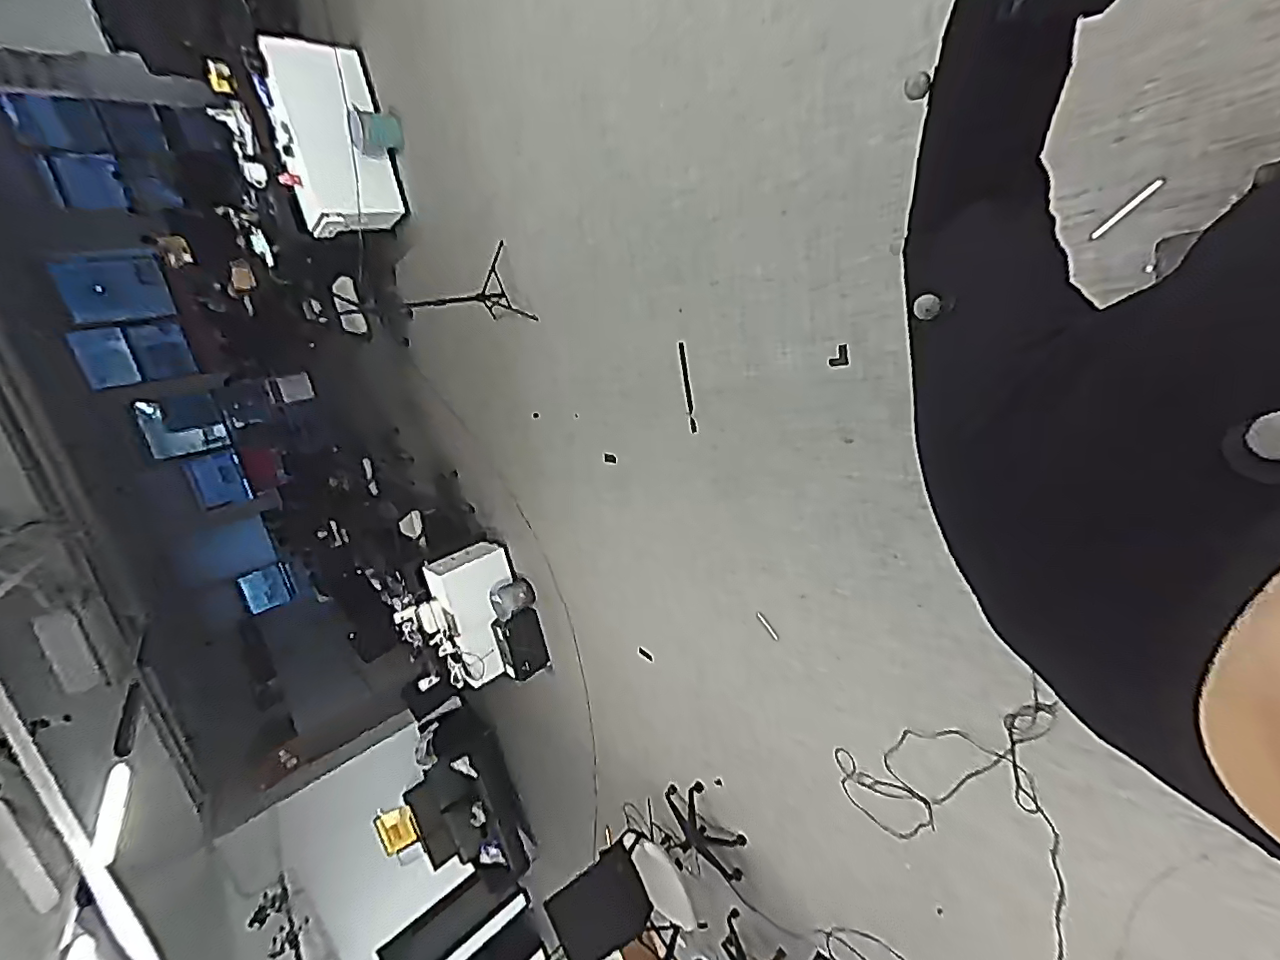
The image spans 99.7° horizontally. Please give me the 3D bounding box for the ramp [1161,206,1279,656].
[{"bbox_3d":[1.329,-0.033,1.024,0.509,0.206,0.991,2,110,50],"label":"ramp"}]
